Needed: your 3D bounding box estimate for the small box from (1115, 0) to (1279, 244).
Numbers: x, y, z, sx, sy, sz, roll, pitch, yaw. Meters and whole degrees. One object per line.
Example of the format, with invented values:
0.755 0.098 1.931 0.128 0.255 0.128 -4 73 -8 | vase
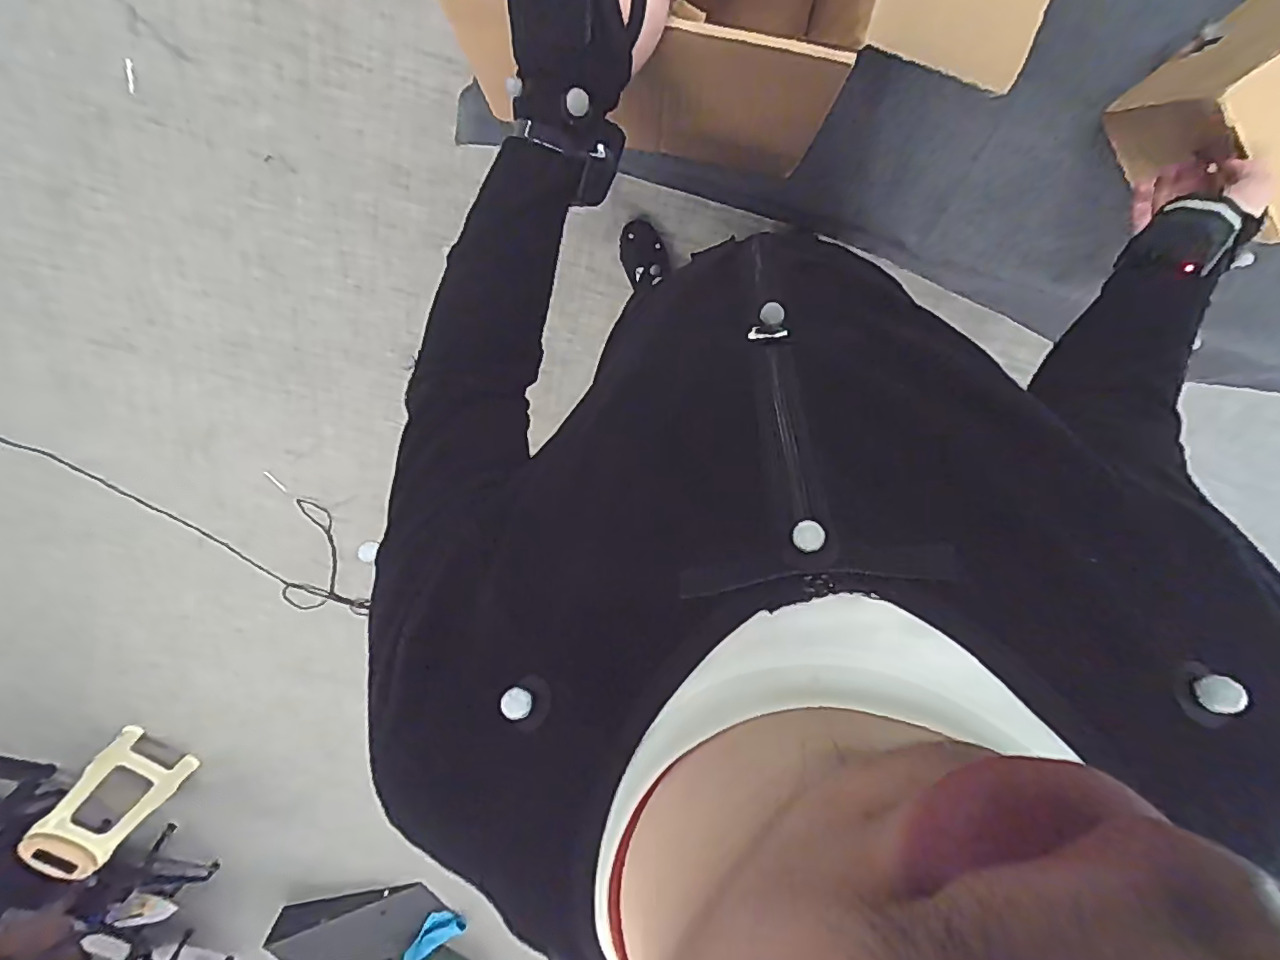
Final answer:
0.637 -0.370 0.546 0.179 0.176 0.168 -36 109 23 | small box
